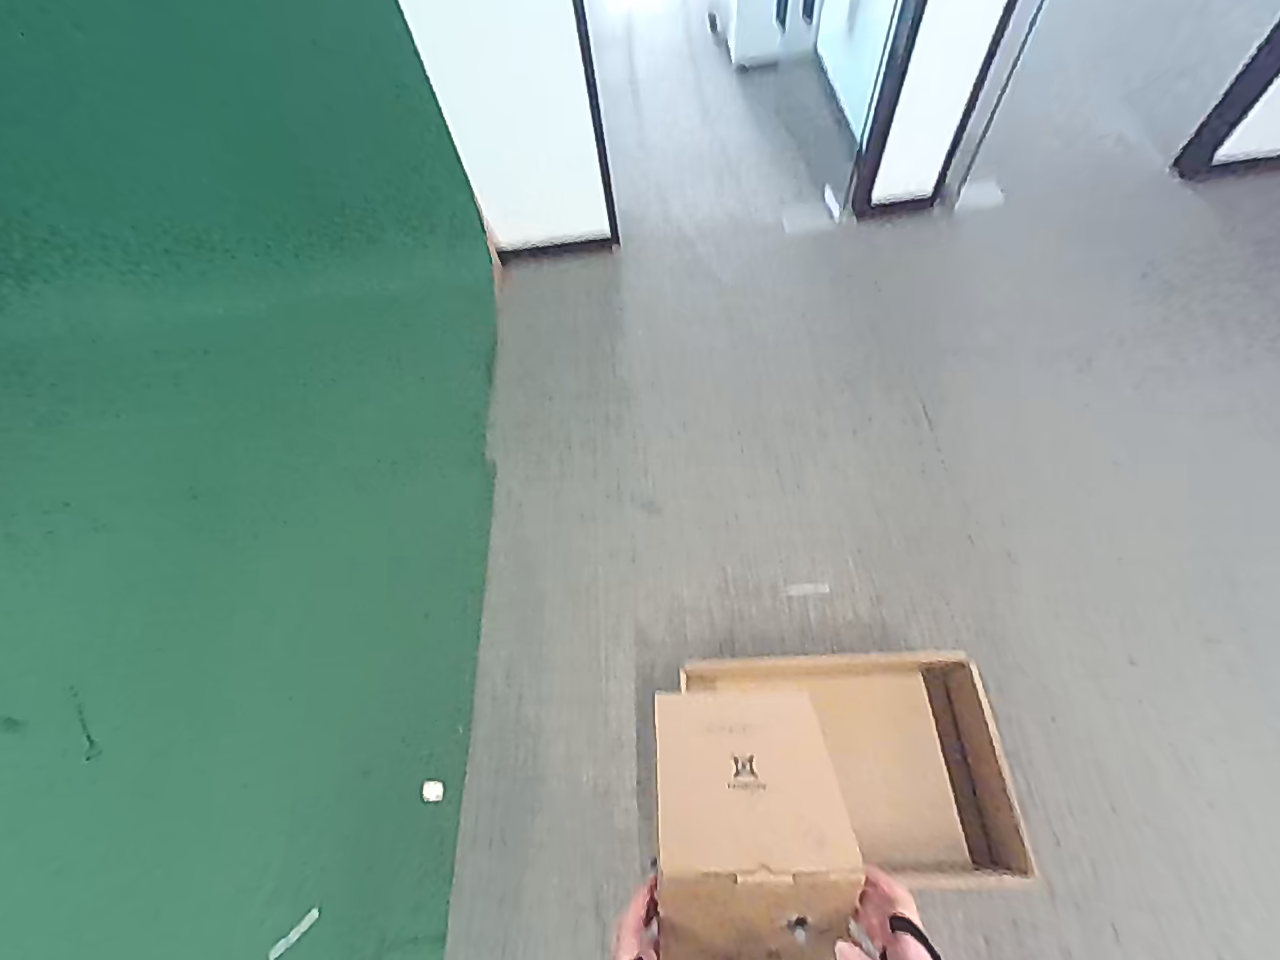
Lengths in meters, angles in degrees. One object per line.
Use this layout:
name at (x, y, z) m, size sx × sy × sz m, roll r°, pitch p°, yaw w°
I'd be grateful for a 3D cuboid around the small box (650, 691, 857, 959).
small box at (0.094, 0.336, 0.533) m, size 0.168 × 0.176 × 0.179 m, roll -1°, pitch 28°, yaw 1°
